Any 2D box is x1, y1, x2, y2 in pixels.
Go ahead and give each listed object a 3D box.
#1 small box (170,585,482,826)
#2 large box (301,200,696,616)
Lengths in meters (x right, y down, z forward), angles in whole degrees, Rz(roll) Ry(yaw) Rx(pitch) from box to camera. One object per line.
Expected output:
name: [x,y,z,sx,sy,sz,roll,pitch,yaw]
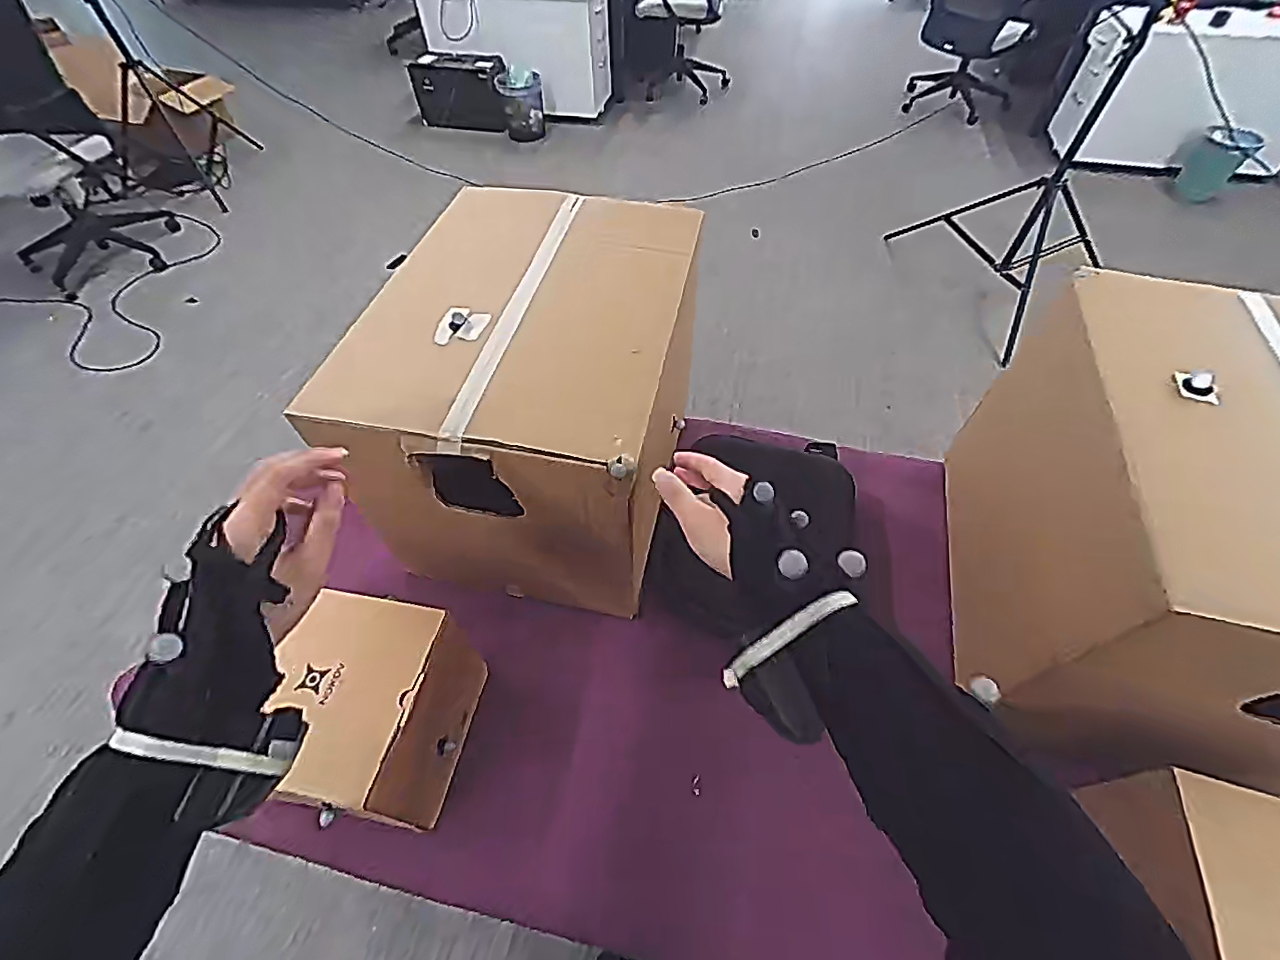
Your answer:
small box: [-0.280,0.226,0.534,0.179,0.176,0.168,8,52,5]
large box: [-0.115,-0.092,0.687,0.320,0.320,0.408,8,56,7]
